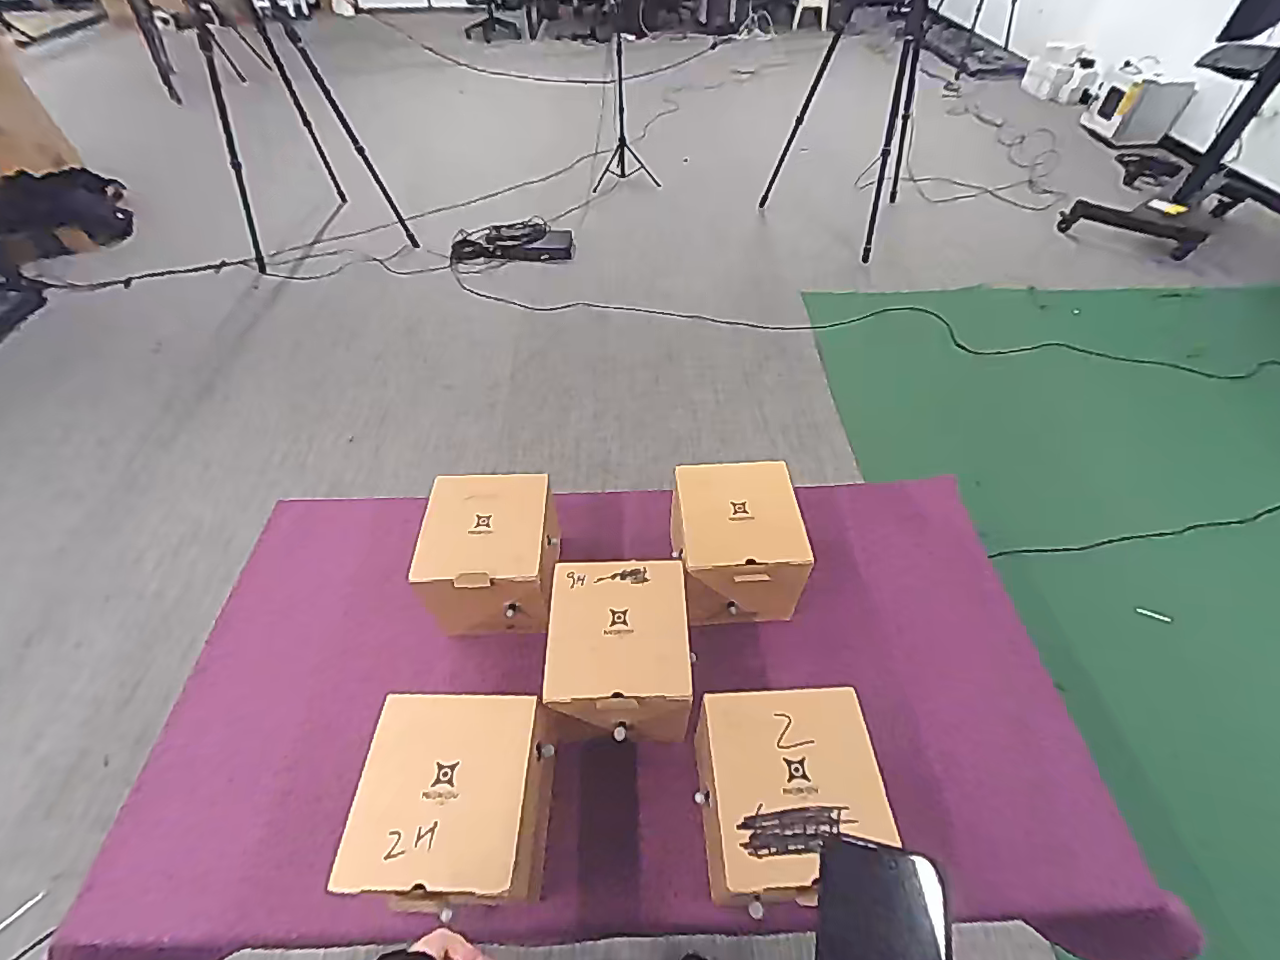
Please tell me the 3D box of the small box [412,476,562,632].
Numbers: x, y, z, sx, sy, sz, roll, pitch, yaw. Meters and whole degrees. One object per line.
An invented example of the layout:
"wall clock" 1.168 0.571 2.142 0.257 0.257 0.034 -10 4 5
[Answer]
"small box" -0.209 0.114 0.796 0.168 0.176 0.179 -1 50 -1

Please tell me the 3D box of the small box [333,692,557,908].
"small box" -0.190 0.351 0.593 0.168 0.176 0.179 0 50 2

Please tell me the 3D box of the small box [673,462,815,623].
"small box" 0.140 0.094 0.805 0.168 0.176 0.179 -3 51 -1
